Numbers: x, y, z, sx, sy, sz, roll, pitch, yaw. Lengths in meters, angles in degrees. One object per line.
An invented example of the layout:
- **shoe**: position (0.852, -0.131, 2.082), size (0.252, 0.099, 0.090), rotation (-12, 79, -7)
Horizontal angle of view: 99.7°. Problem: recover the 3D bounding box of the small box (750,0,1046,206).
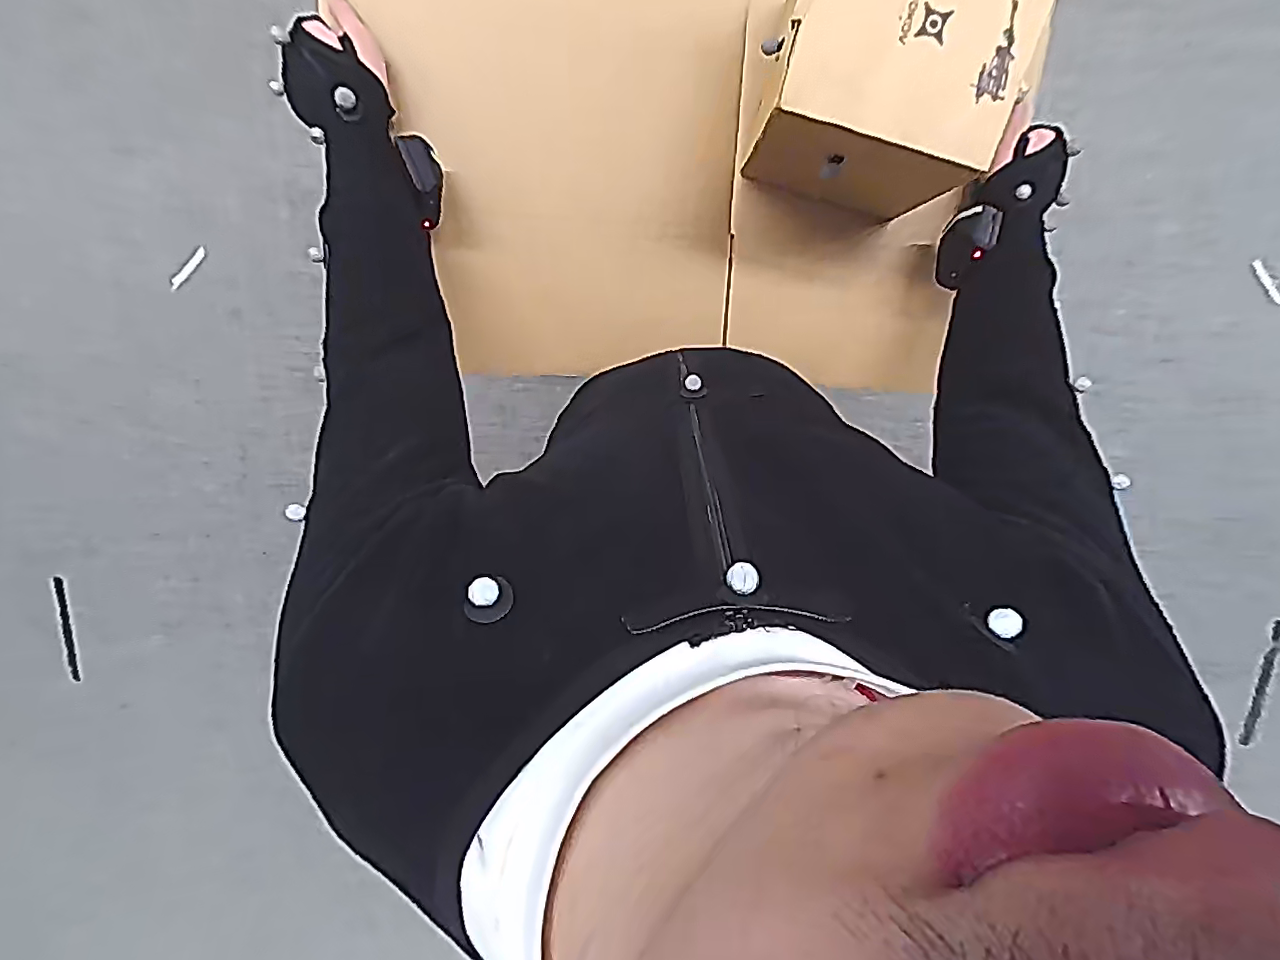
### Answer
- **small box**: position (0.210, -0.365, 0.478), size (0.179, 0.176, 0.168), rotation (15, 104, -2)
